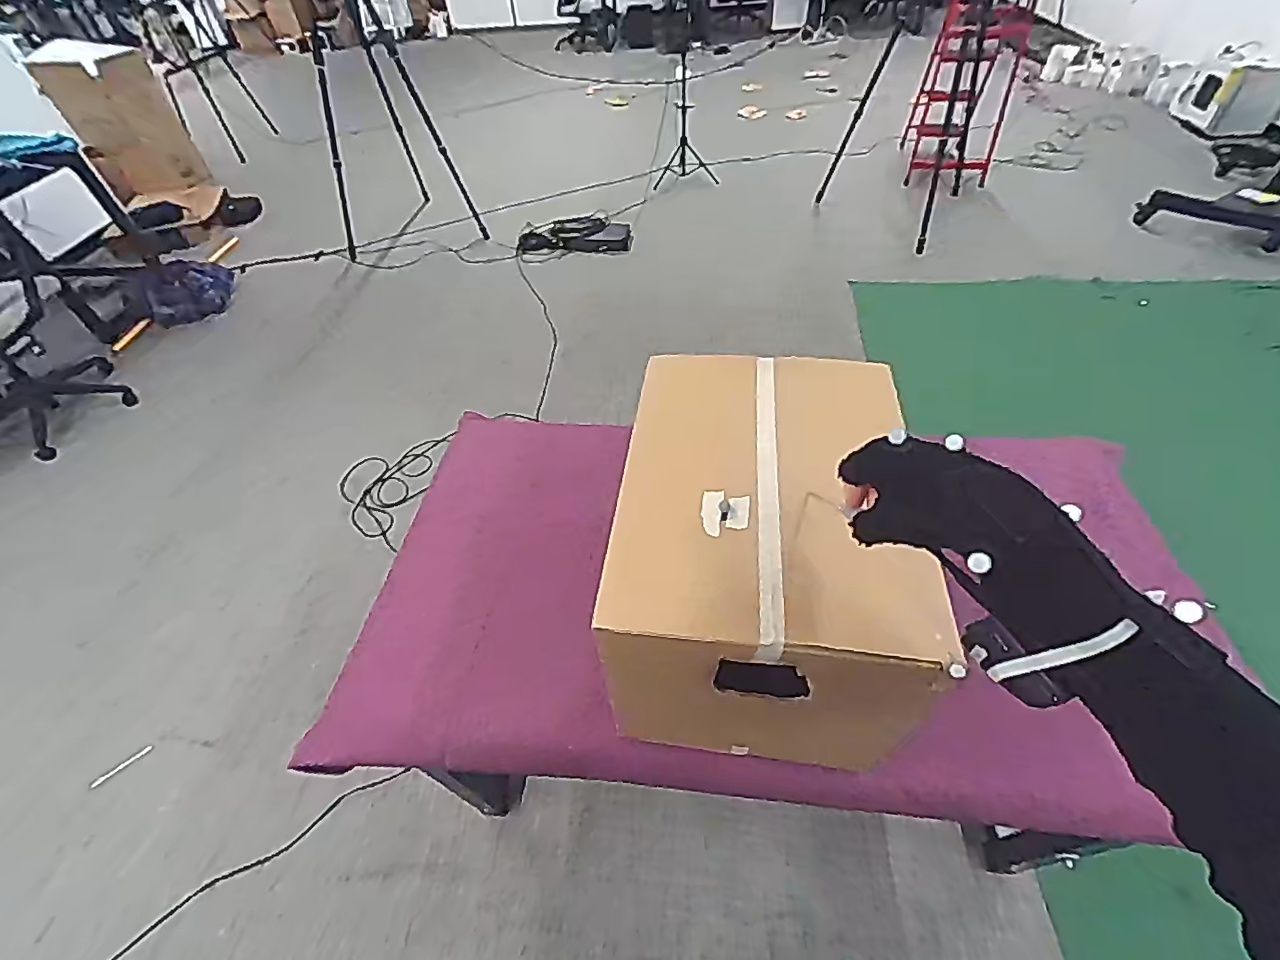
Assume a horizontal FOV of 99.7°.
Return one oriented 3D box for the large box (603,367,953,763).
[{"bbox_3d":[0.146,0.101,0.714,0.320,0.320,0.408,4,49,8],"label":"large box"}]
